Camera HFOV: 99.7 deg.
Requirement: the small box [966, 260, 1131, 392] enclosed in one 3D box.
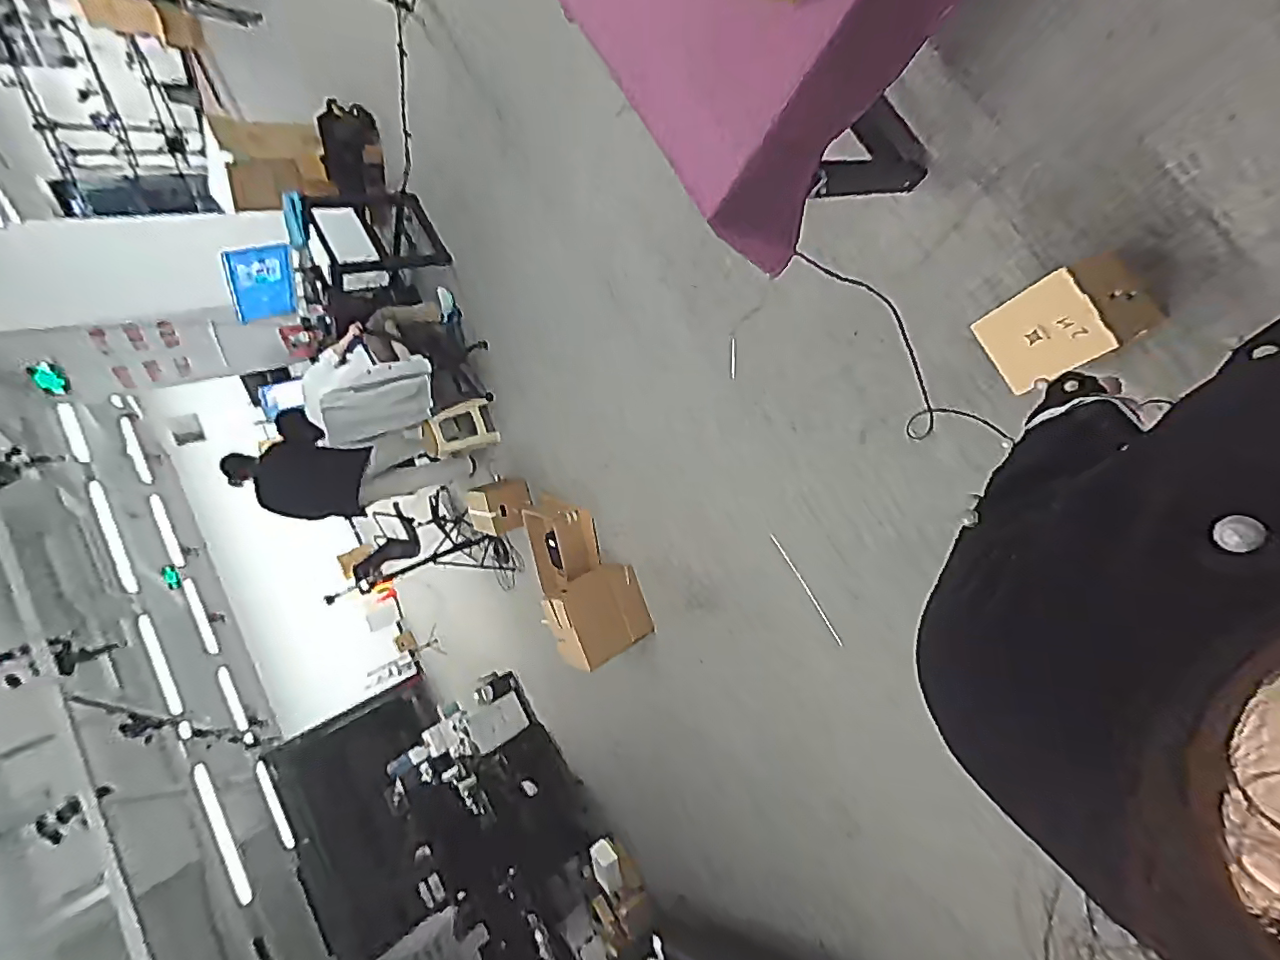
[{"bbox_3d":[0.780,-0.294,1.035,0.168,0.176,0.179,61,145,7],"label":"small box"}]
